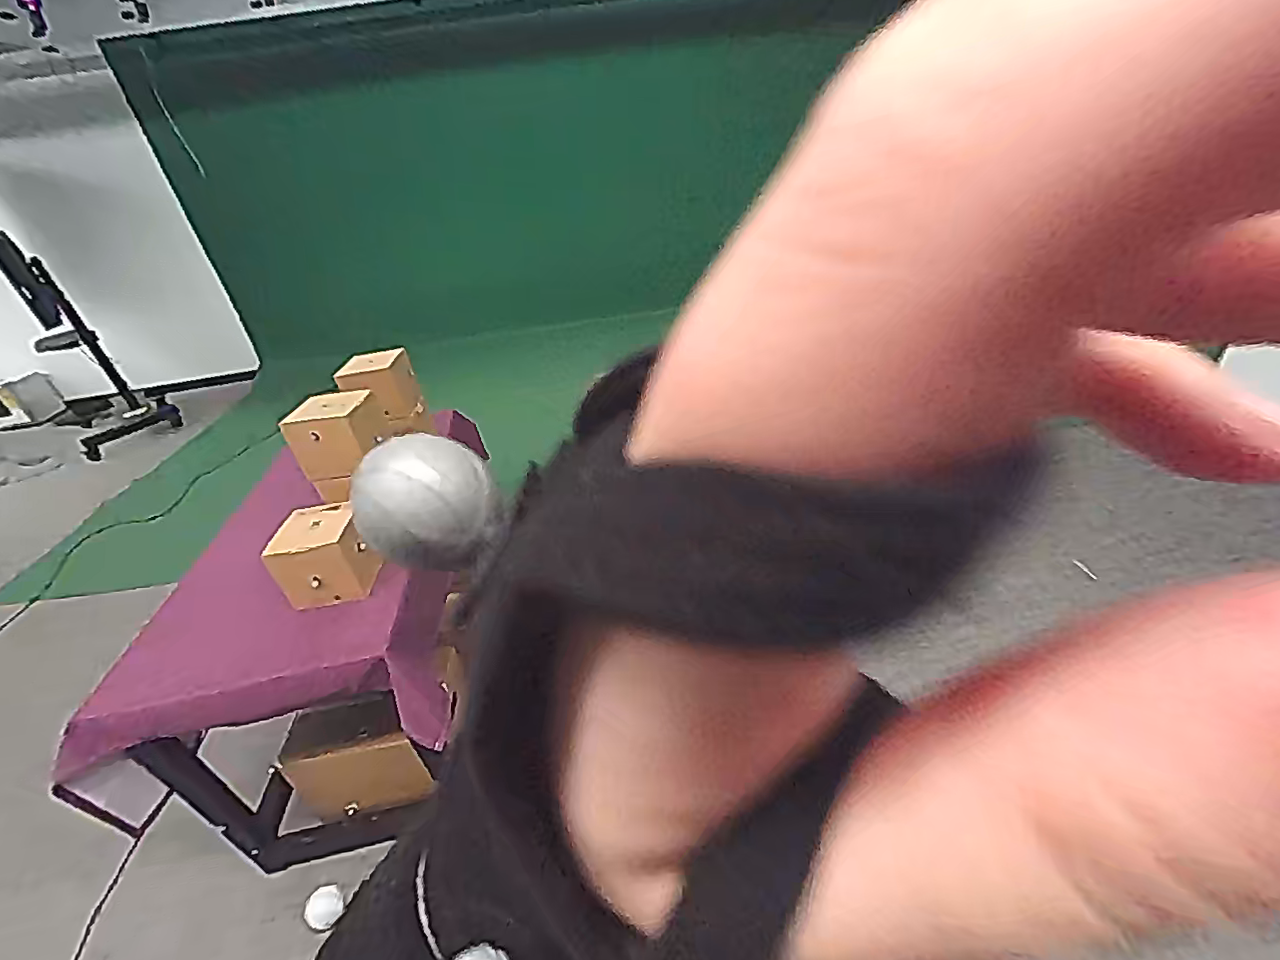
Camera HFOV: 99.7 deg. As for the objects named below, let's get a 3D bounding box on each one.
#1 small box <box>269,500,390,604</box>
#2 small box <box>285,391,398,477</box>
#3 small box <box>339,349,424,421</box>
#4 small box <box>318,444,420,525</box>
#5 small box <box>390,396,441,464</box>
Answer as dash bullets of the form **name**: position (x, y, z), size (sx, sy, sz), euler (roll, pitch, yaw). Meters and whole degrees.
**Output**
- **small box**: position (-0.713, 0.173, 1.268), size (0.168, 0.176, 0.179), euler (-9, 34, -2)
- **small box**: position (-0.780, -0.119, 1.431), size (0.179, 0.176, 0.168), euler (-6, 34, 3)
- **small box**: position (-0.802, -0.294, 1.702), size (0.168, 0.176, 0.179), euler (-10, 33, 0)
- **small box**: position (-0.752, 0.017, 1.519), size (0.179, 0.176, 0.168), euler (-6, 33, 2)
- **small box**: position (-0.778, -0.157, 1.787), size (0.179, 0.176, 0.168), euler (-10, 33, -1)
